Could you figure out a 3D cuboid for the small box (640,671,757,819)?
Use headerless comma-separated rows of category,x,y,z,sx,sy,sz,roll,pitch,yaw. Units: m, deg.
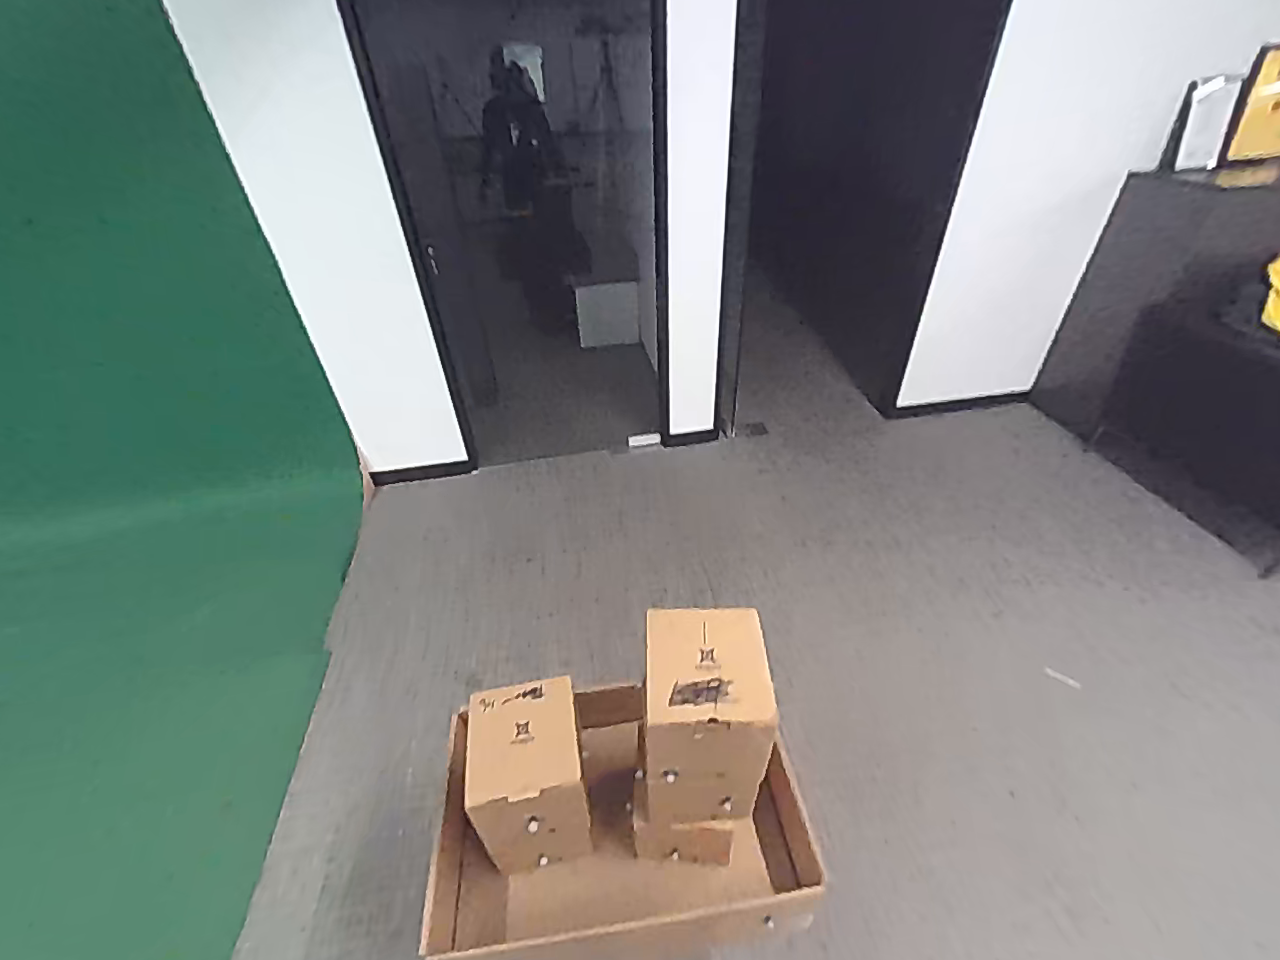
small box,0.087,0.430,0.878,0.168,0.176,0.179,-2,38,-1

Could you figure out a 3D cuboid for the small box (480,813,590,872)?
small box,-0.186,0.566,0.977,0.168,0.176,0.179,-8,39,-8

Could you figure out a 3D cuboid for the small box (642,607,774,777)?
small box,0.088,0.303,0.775,0.168,0.176,0.179,0,38,1

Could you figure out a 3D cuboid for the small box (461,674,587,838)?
small box,-0.179,0.445,0.865,0.168,0.176,0.179,-8,39,-8
